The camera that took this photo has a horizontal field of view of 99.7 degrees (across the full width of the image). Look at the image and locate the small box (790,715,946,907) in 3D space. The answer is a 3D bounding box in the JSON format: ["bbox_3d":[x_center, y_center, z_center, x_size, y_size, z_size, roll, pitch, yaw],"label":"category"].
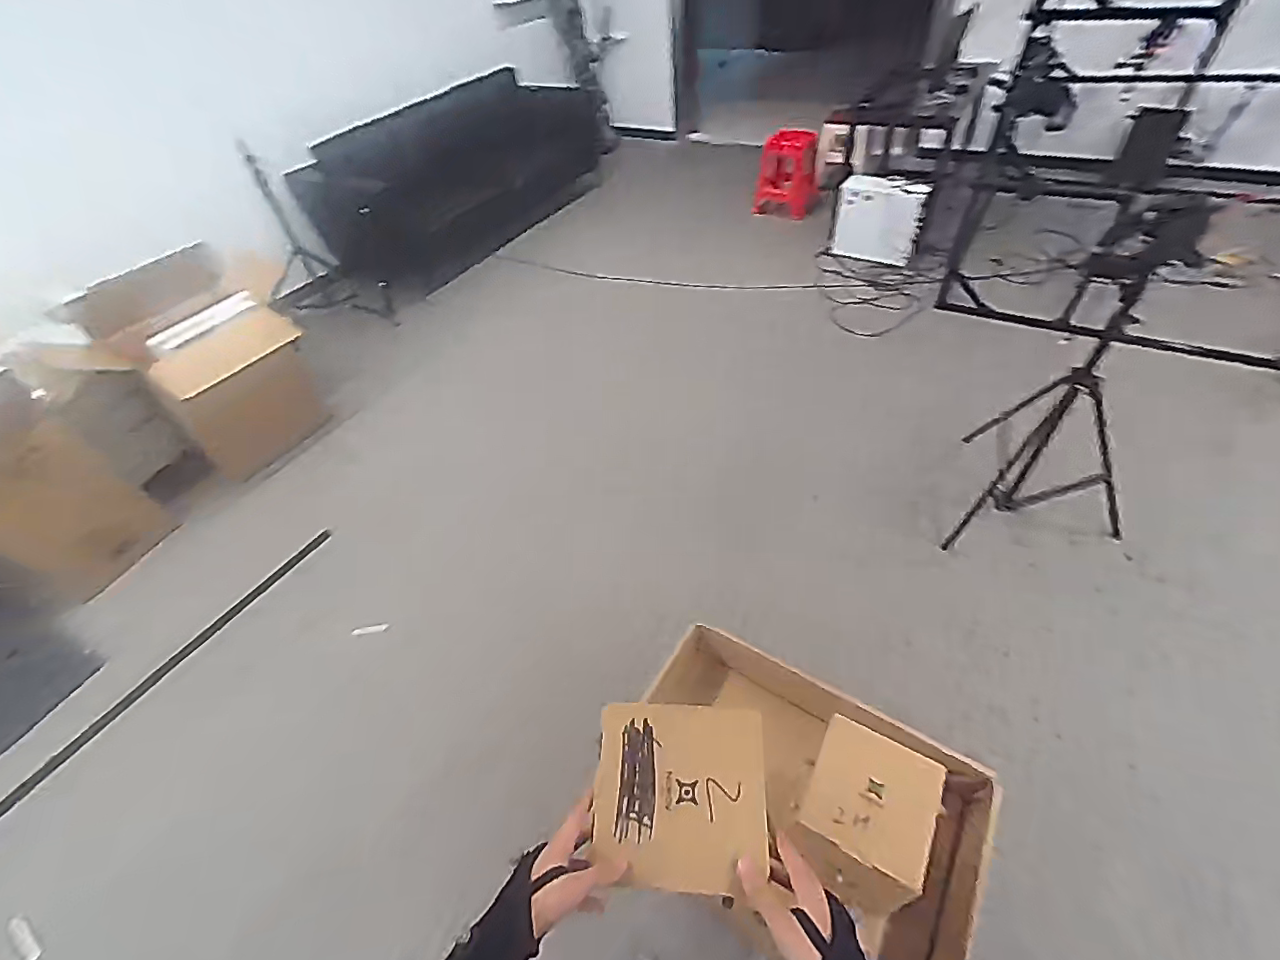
[{"bbox_3d":[0.340,0.506,0.829,0.168,0.176,0.179,20,53,25],"label":"small box"}]
